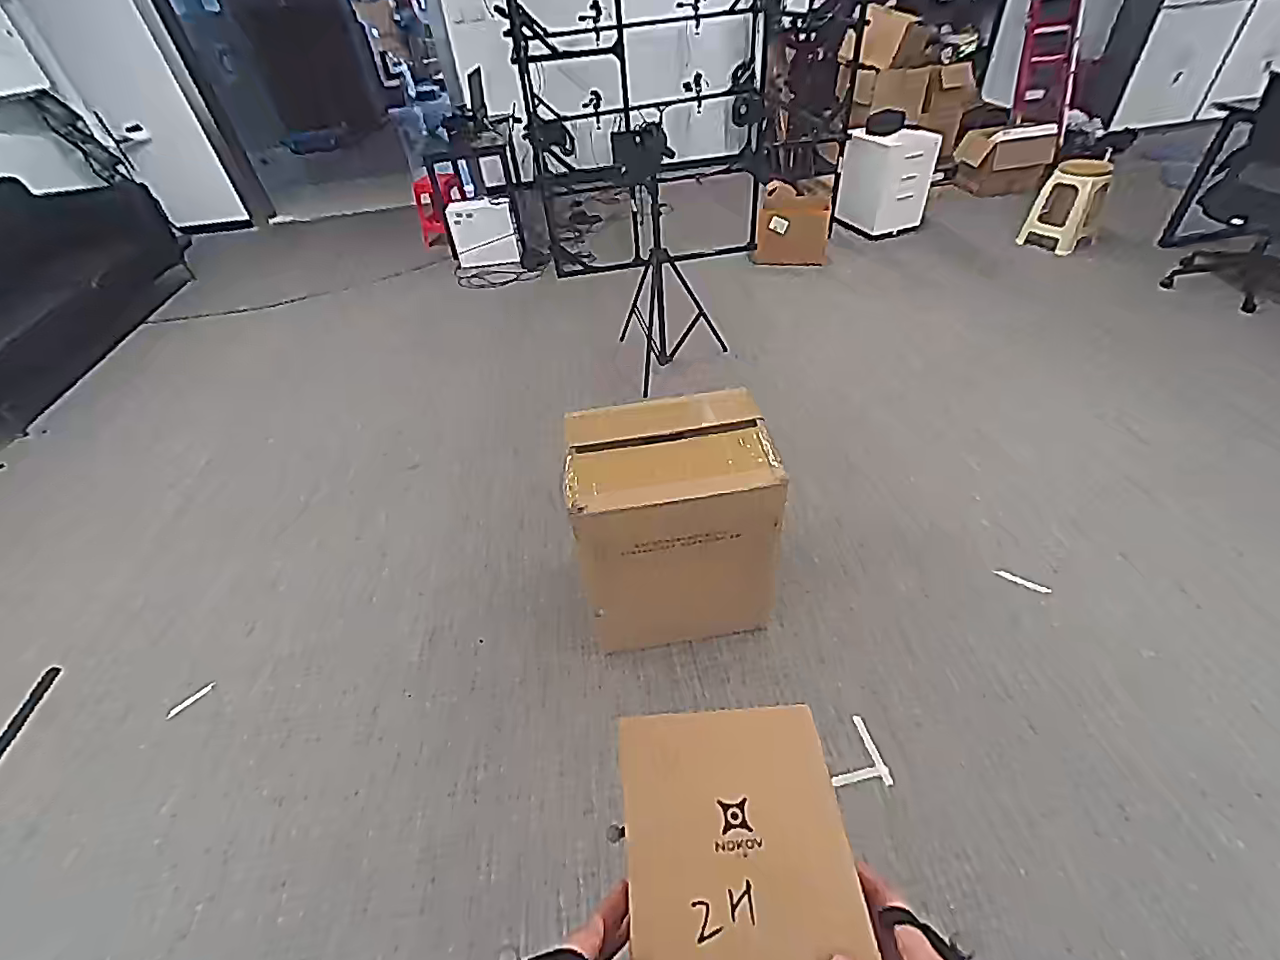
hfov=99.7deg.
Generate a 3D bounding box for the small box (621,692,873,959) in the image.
[{"bbox_3d":[0.069,0.308,0.474,0.168,0.176,0.179,-3,47,-4],"label":"small box"}]
